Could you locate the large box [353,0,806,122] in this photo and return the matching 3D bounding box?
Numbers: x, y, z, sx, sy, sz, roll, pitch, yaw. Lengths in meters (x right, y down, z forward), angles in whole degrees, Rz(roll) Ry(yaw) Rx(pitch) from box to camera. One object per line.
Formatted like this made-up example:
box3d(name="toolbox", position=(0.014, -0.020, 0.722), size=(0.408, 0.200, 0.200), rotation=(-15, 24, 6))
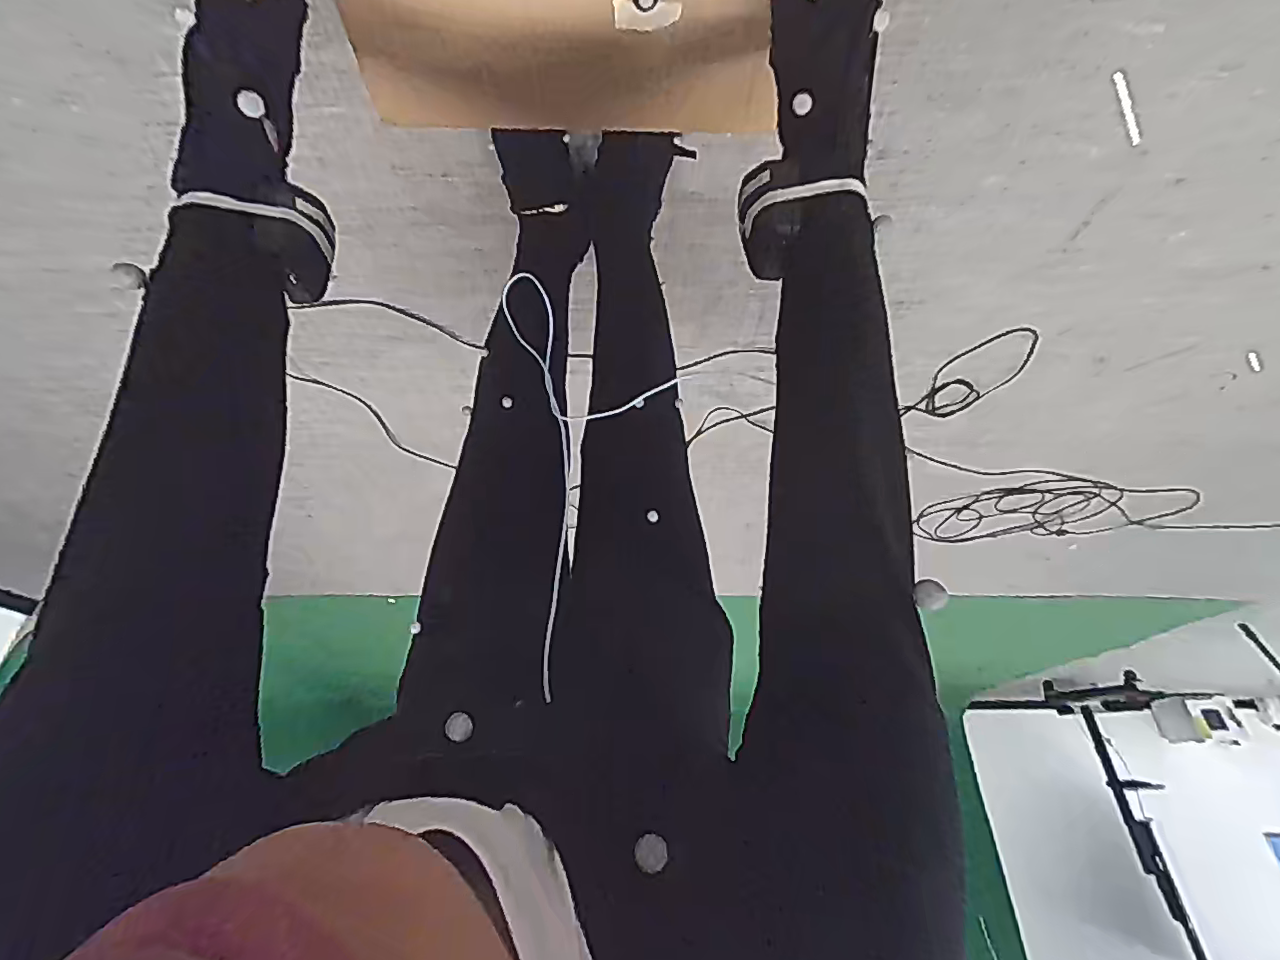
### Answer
box3d(name="large box", position=(-0.053, -0.573, 0.501), size=(0.408, 0.320, 0.320), rotation=(1, 149, 0))
